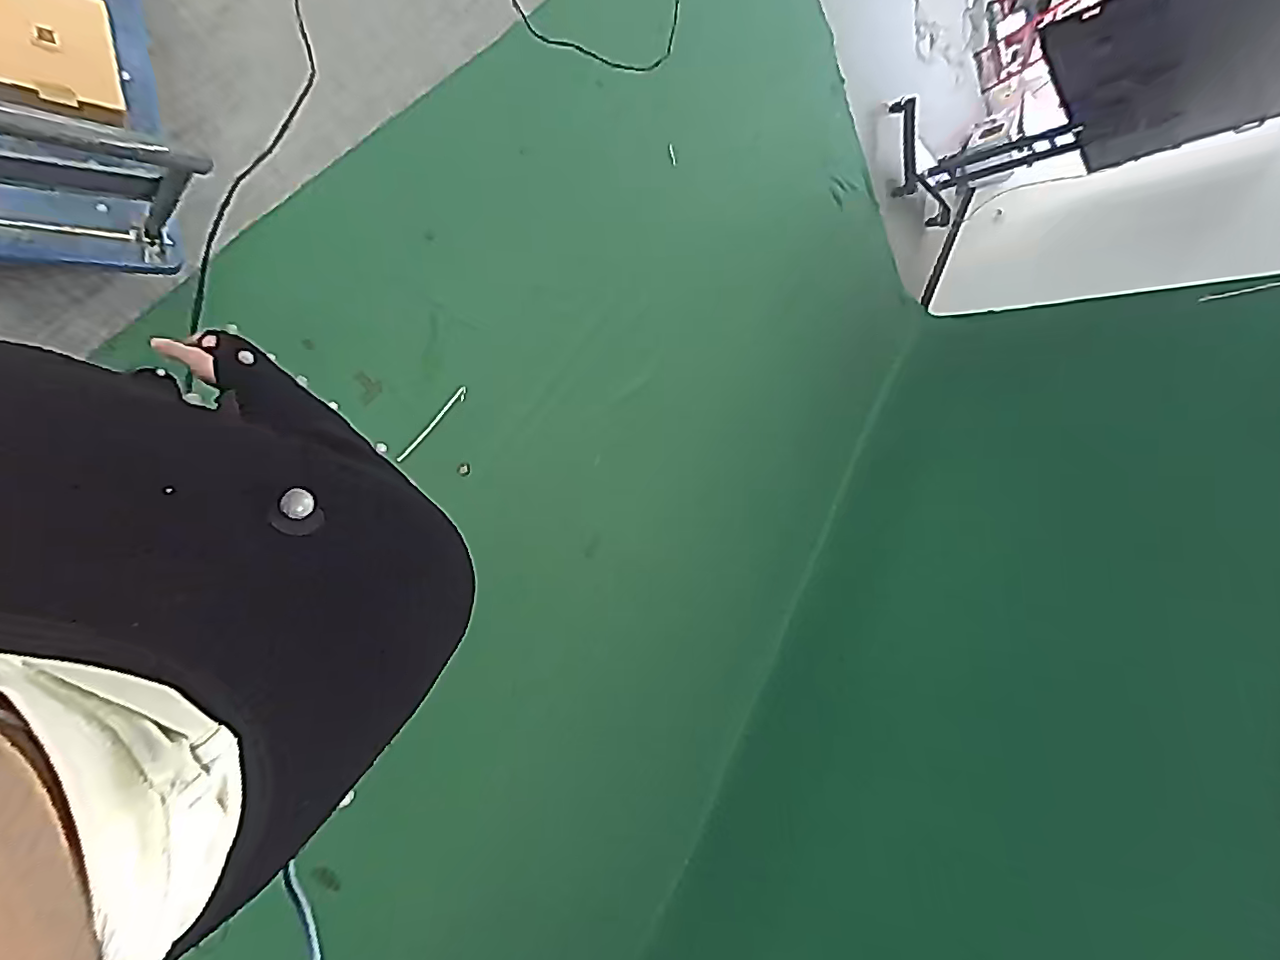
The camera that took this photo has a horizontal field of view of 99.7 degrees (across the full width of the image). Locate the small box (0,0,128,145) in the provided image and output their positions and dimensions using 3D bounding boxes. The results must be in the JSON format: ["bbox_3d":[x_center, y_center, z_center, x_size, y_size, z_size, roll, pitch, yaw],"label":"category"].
[{"bbox_3d":[-1.010,-0.716,0.926,0.168,0.176,0.179,-13,104,-44],"label":"small box"}]
